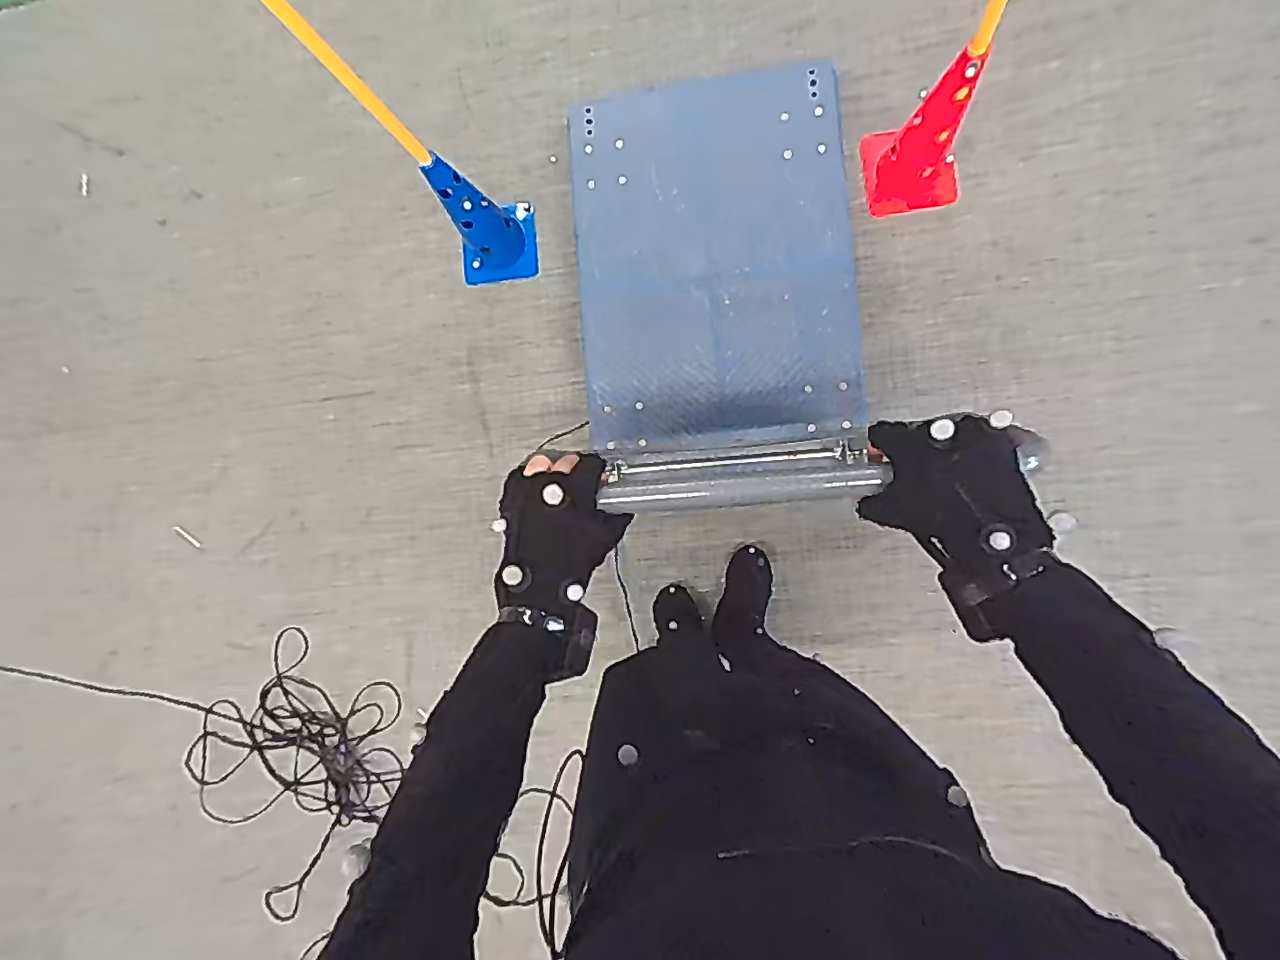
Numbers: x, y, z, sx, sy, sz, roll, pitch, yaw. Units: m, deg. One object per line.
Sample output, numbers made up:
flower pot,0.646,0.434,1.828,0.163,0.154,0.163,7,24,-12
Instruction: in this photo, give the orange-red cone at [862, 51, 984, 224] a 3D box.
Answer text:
orange-red cone,0.605,-0.717,1.109,0.199,0.360,0.198,-5,86,10
